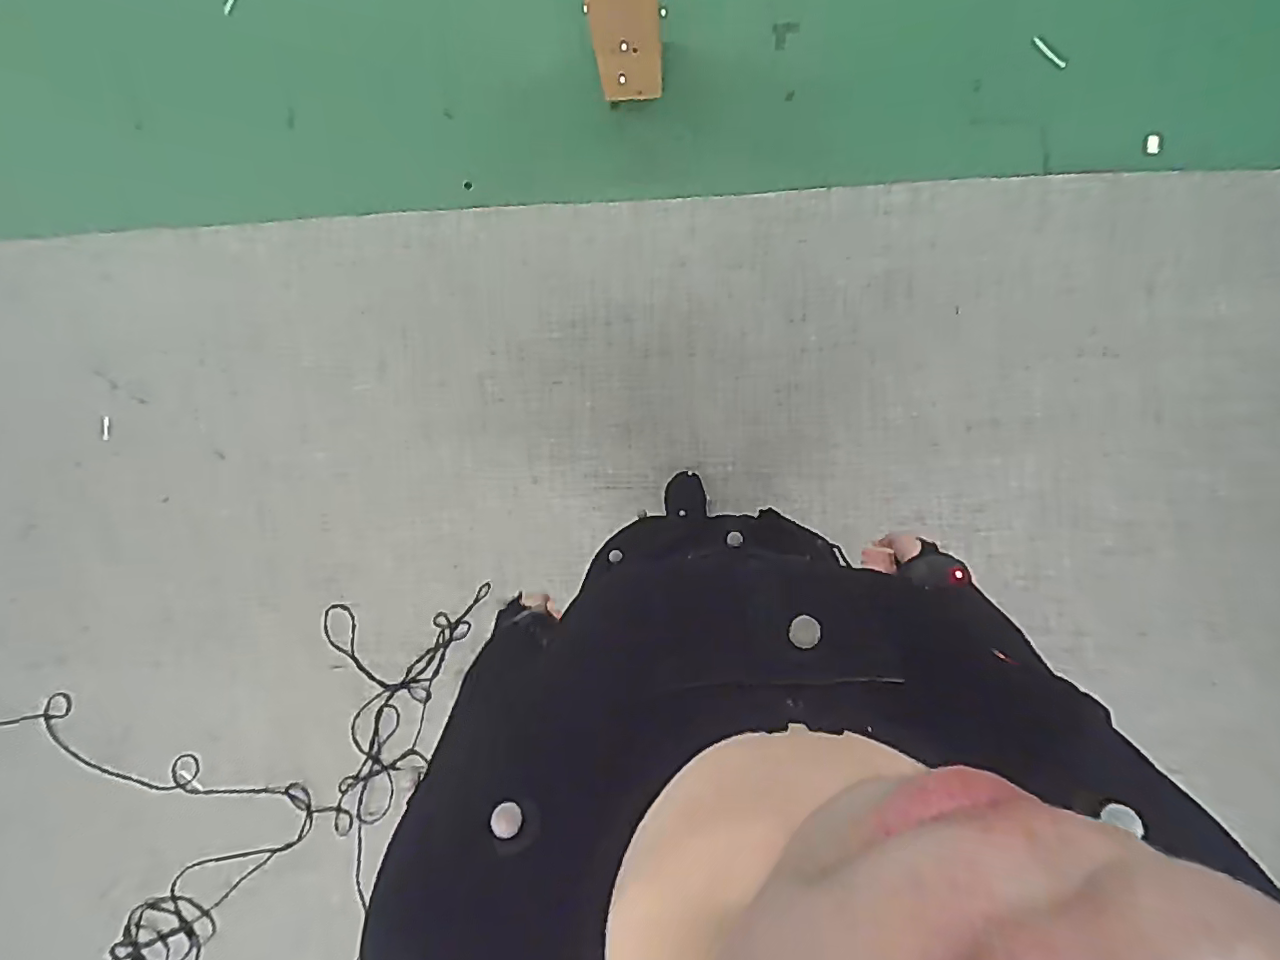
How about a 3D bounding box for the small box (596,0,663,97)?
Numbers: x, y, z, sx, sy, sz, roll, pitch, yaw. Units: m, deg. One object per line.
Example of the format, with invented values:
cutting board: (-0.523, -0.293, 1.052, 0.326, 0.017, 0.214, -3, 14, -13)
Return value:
small box: (-0.024, -1.179, 1.469, 0.168, 0.176, 0.179, 0, 88, 5)
